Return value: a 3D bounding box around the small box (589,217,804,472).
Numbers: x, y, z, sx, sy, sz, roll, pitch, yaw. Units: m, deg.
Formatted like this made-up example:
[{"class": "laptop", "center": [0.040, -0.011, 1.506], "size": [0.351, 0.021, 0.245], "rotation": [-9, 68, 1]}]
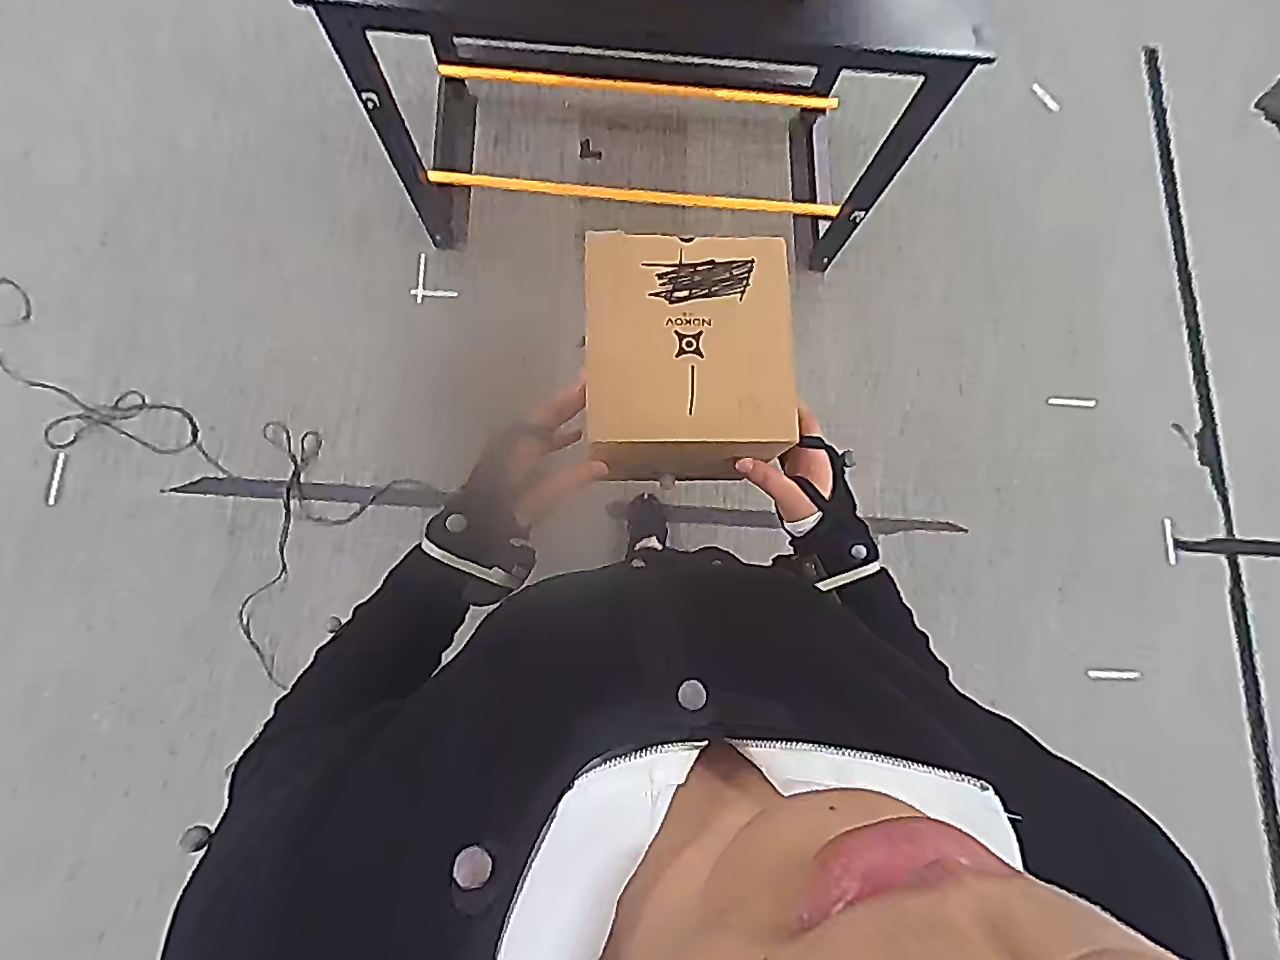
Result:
[{"class": "small box", "center": [0.037, -0.110, 0.500], "size": [0.168, 0.176, 0.179], "rotation": [0, 80, -5]}]
